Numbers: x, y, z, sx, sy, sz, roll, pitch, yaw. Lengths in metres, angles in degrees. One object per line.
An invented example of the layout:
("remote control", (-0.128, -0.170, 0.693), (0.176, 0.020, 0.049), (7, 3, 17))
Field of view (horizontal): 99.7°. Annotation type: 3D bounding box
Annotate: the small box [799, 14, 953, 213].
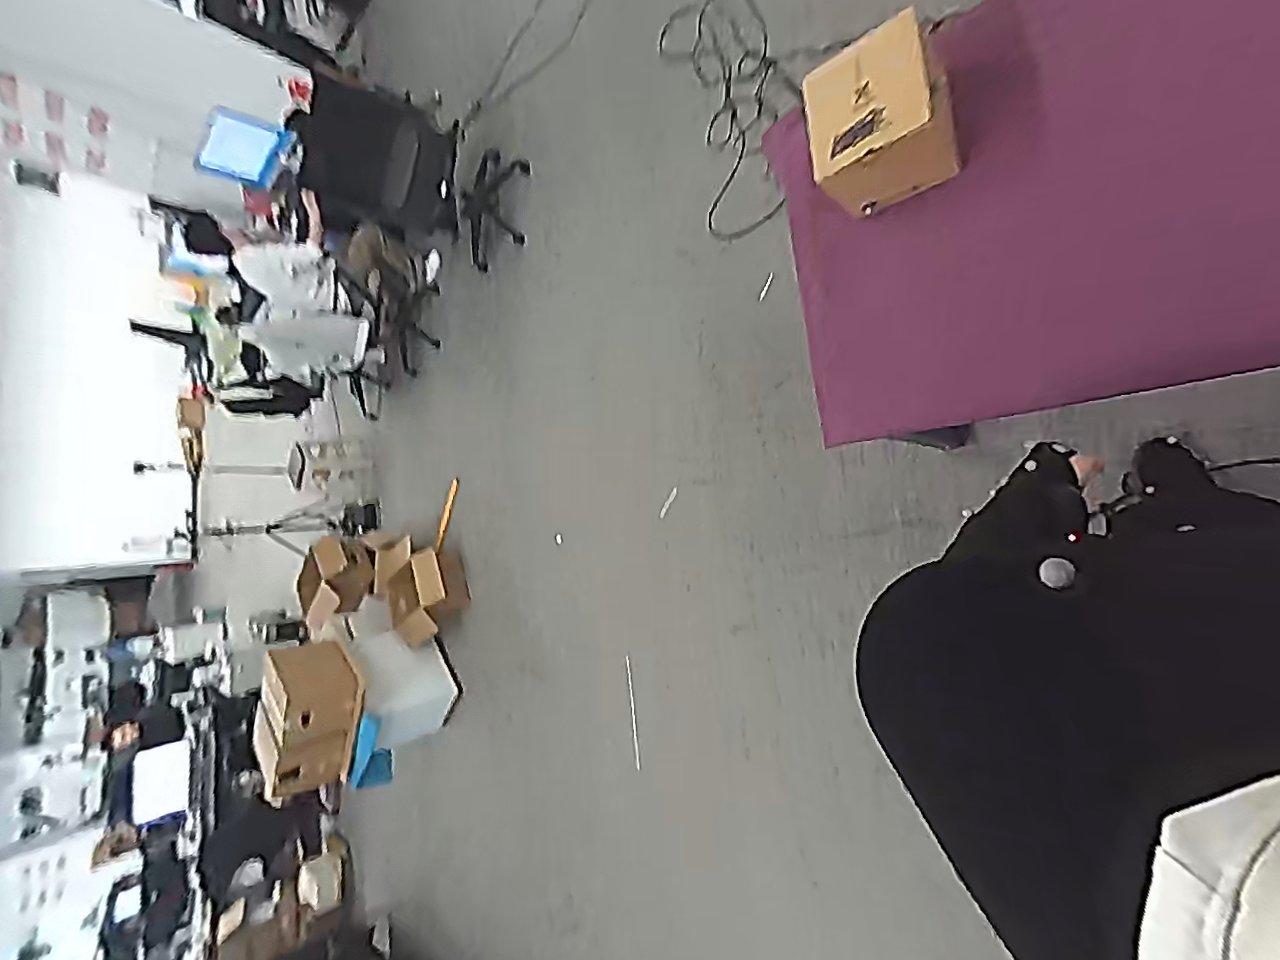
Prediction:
("small box", (0.372, -0.548, 0.847), (0.168, 0.176, 0.179), (-11, 83, 41))
